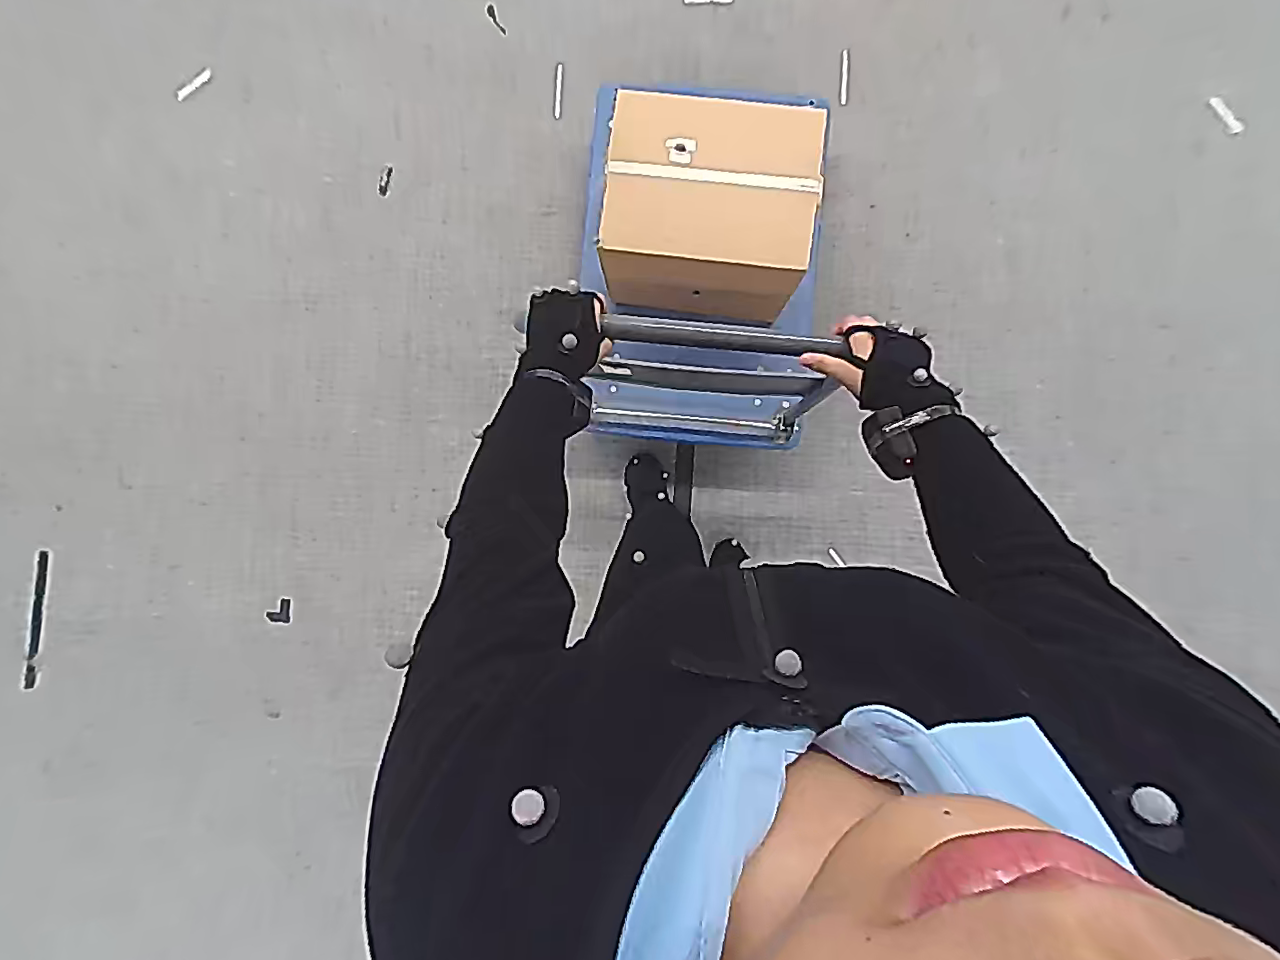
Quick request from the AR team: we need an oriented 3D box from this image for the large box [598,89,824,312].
[{"bbox_3d":[0.143,-0.572,1.162,0.408,0.320,0.320,7,88,4],"label":"large box"}]
